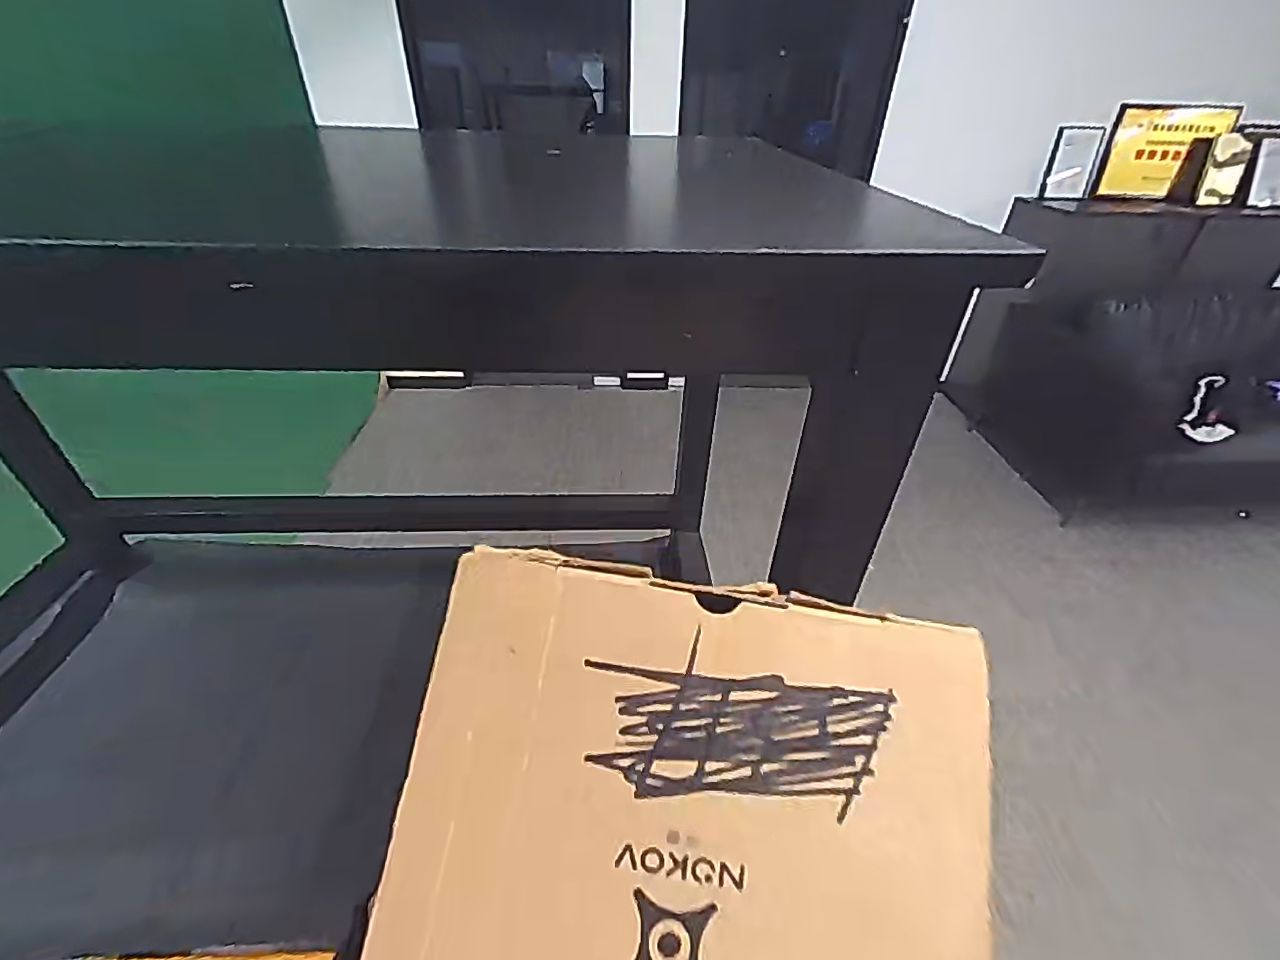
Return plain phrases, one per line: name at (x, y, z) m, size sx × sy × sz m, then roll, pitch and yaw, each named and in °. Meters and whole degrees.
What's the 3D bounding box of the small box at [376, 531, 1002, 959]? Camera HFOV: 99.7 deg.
small box at (0.016, 0.134, 0.226) m, size 0.168 × 0.176 × 0.179 m, roll 9°, pitch 74°, yaw 4°
